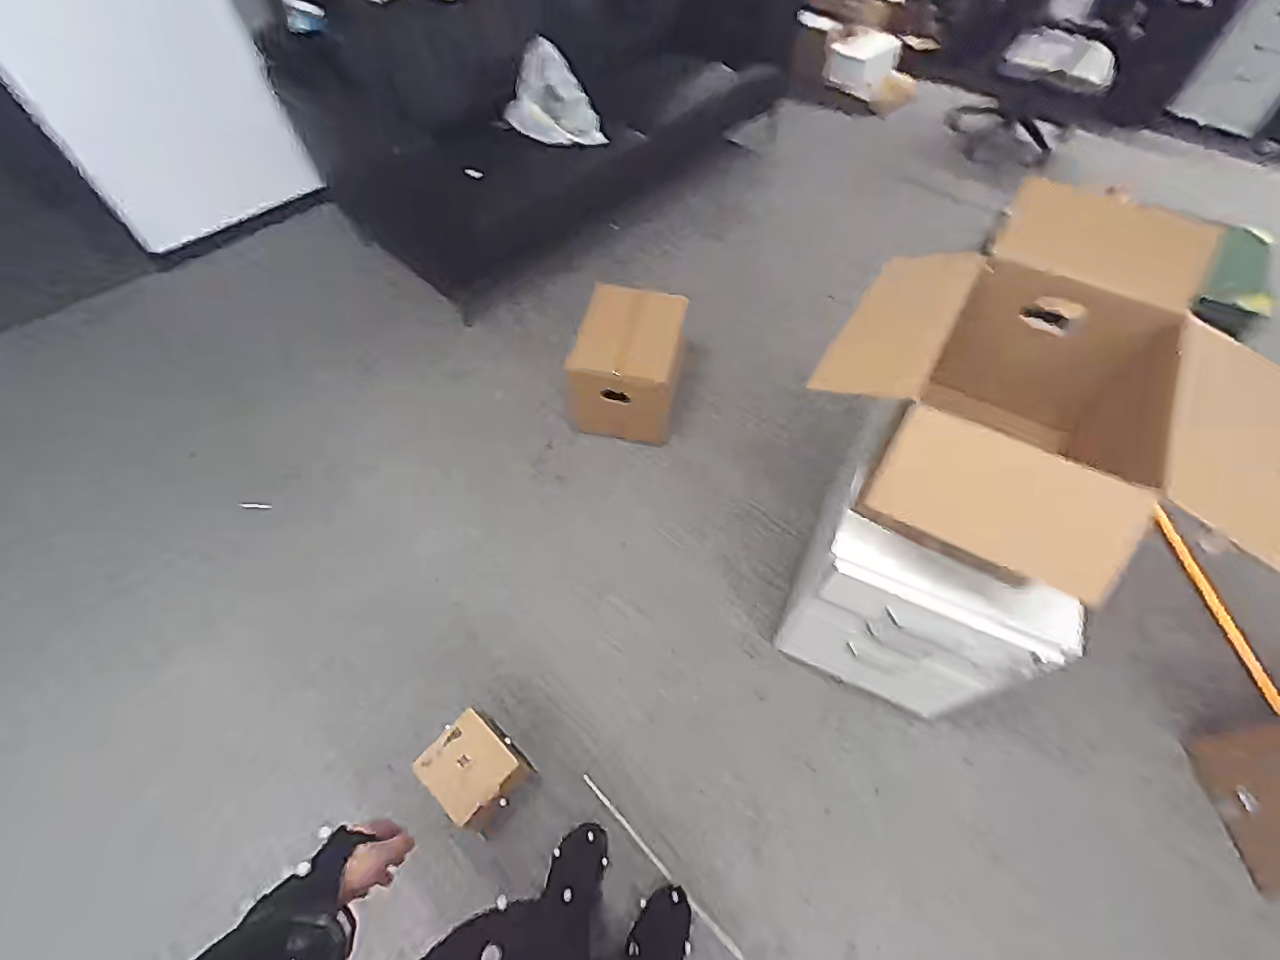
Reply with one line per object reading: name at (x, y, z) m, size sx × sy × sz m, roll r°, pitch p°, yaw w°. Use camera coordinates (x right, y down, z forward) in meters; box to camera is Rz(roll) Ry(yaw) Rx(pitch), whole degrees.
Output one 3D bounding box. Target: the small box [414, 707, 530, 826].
small box at (-0.376, 0.658, 1.243) m, size 0.179 × 0.176 × 0.168 m, roll 37°, pitch 64°, yaw 22°
